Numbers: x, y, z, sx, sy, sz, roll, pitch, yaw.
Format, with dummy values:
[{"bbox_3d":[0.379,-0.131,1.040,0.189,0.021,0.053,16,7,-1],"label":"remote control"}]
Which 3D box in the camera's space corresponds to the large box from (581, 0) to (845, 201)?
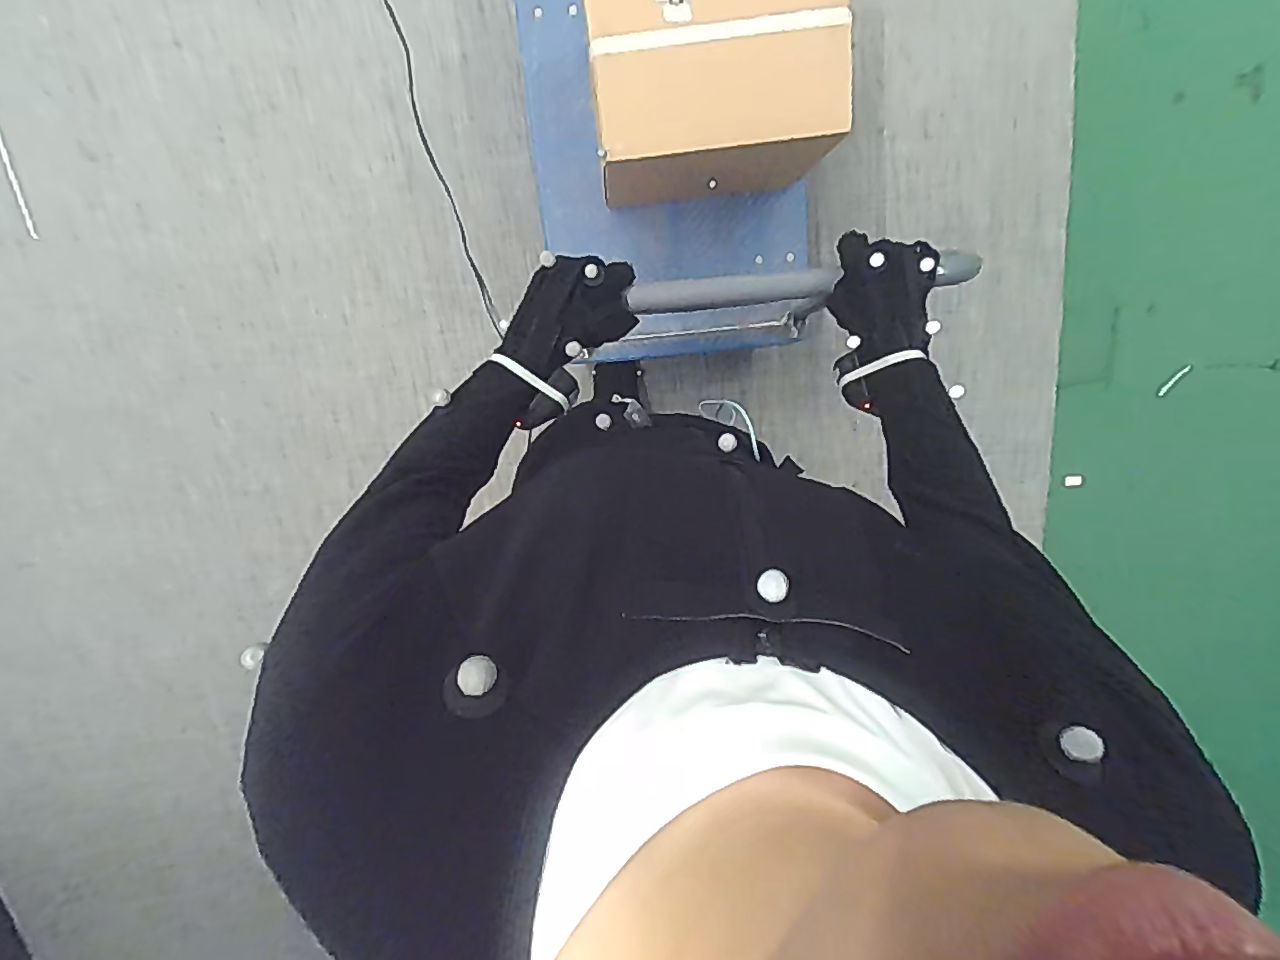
[{"bbox_3d":[0.117,-0.734,0.987,0.408,0.320,0.320,-7,104,1],"label":"large box"}]
